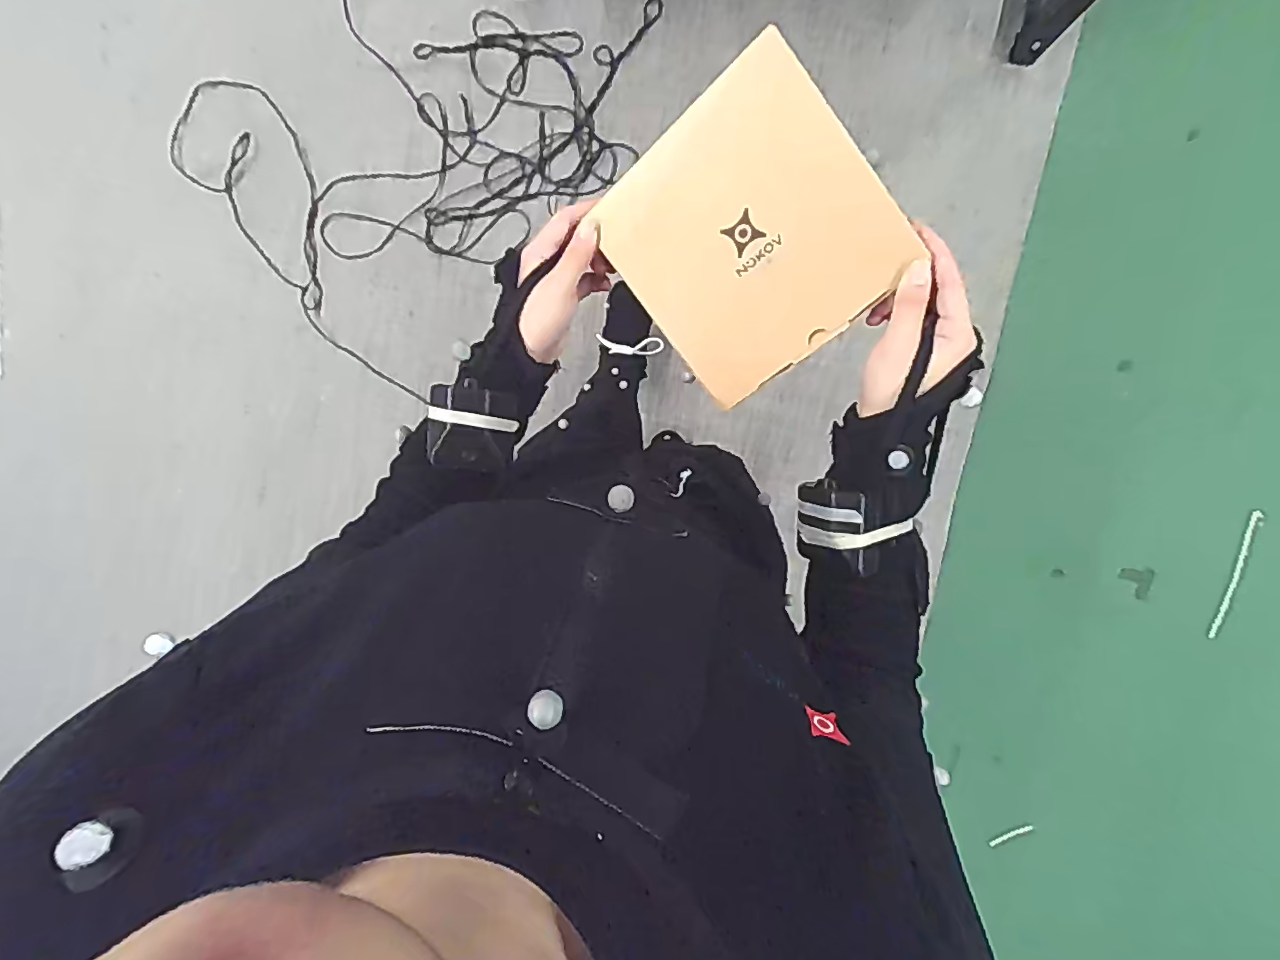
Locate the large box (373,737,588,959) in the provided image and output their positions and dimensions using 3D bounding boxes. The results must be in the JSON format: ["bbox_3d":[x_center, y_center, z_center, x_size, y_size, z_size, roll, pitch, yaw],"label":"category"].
[{"bbox_3d":[-0.375,0.915,1.355,0.408,0.320,0.320,14,98,4],"label":"large box"}]
